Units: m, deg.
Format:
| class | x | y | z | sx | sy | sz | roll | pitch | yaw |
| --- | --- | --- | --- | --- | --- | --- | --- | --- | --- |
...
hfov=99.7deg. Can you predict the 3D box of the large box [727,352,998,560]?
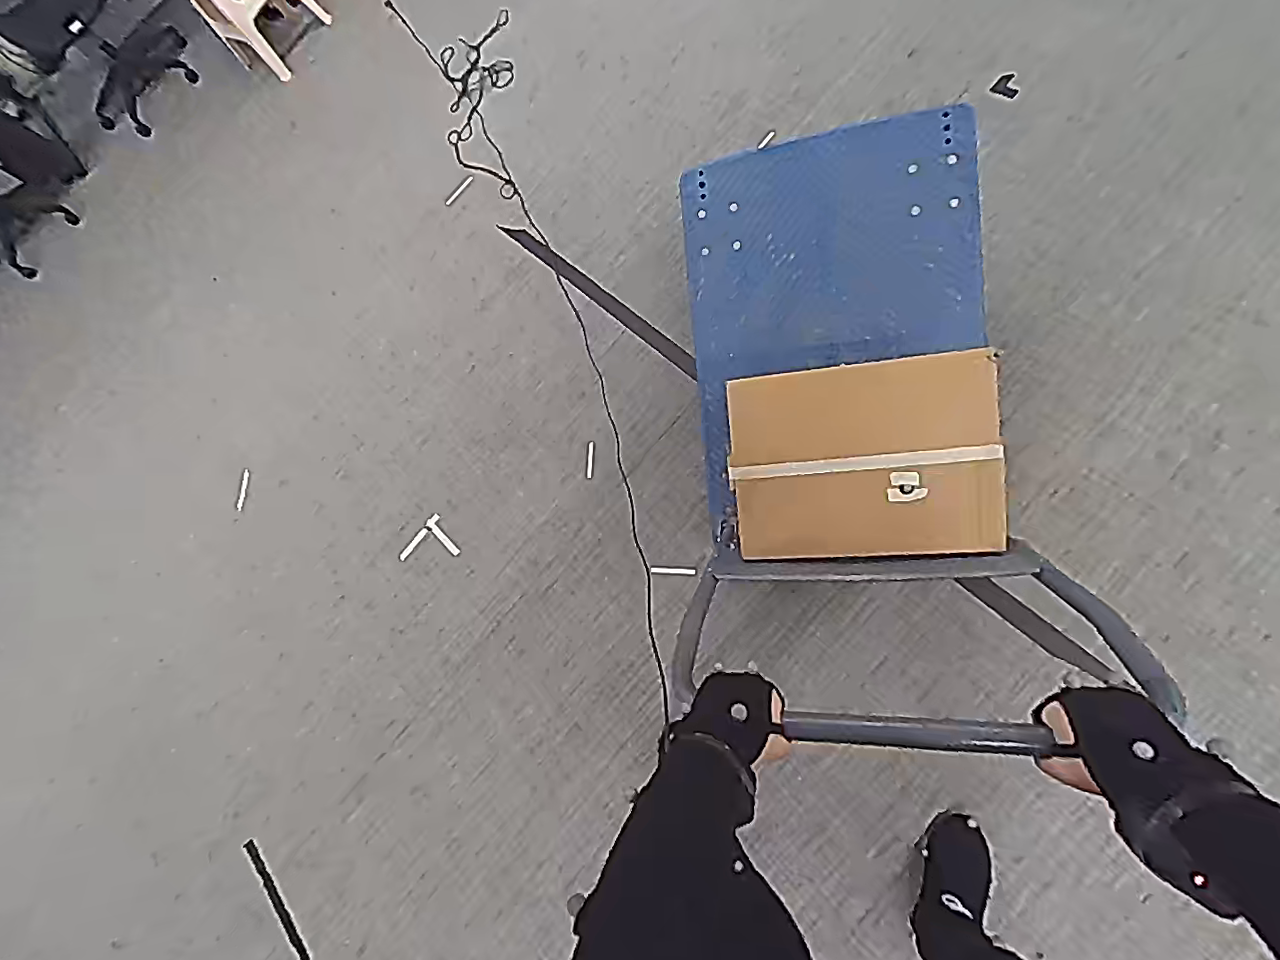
| class | x | y | z | sx | sy | sz | roll | pitch | yaw |
| --- | --- | --- | --- | --- | --- | --- | --- | --- | --- |
| large box | 0.395 | -0.042 | 1.033 | 0.408 | 0.320 | 0.320 | -5 | 96 | 16 |
